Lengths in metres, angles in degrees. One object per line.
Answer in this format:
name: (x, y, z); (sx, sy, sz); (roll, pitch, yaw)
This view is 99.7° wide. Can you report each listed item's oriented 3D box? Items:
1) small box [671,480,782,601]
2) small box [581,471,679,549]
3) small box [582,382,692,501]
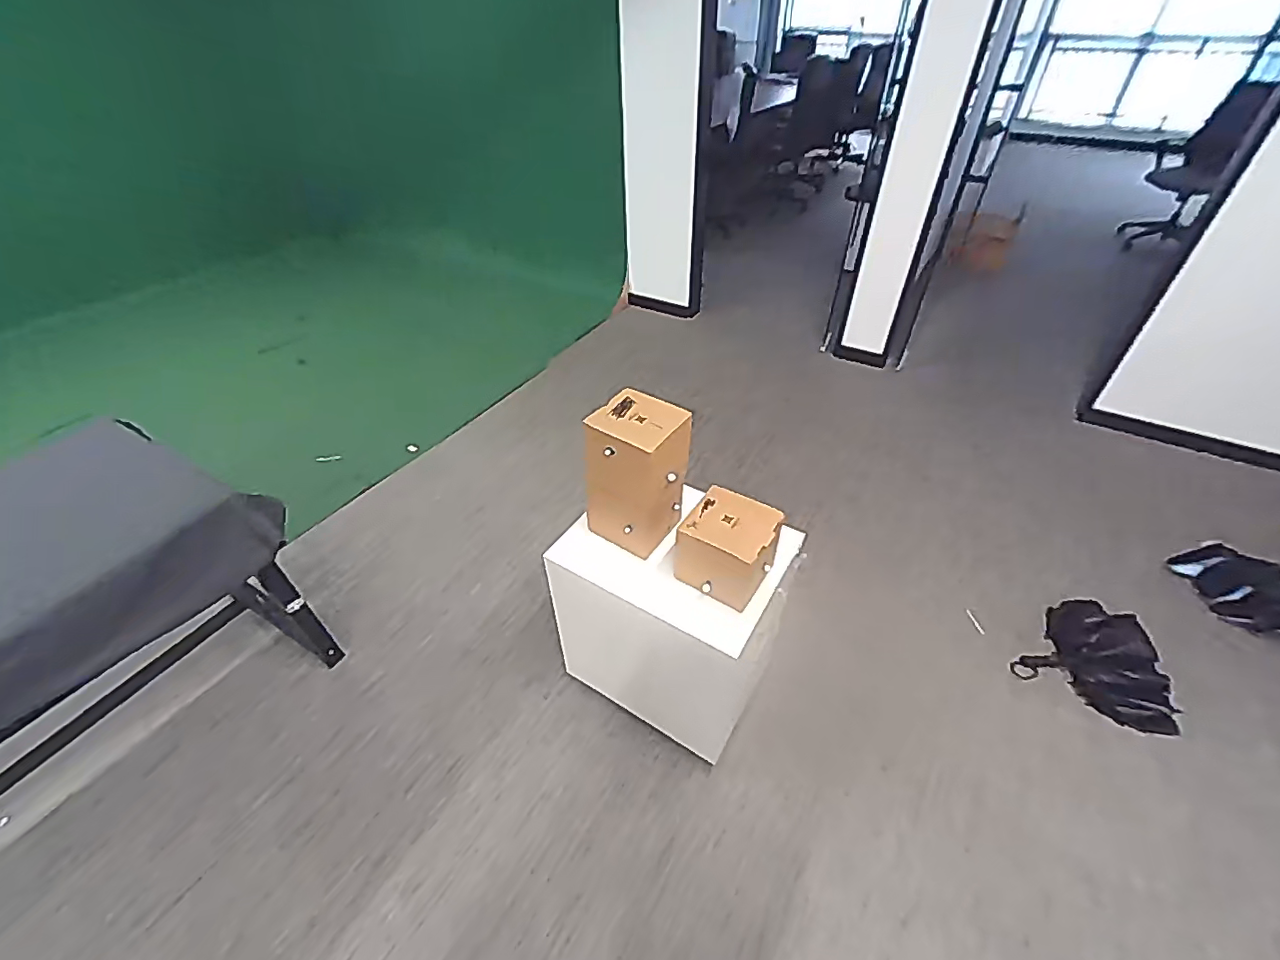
small box: (0.183, 0.138, 1.185); (0.179, 0.176, 0.168); (26, 49, 23)
small box: (-0.020, 0.038, 1.290); (0.179, 0.176, 0.168); (25, 47, 24)
small box: (-0.010, -0.083, 1.179); (0.179, 0.176, 0.168); (27, 48, 23)
